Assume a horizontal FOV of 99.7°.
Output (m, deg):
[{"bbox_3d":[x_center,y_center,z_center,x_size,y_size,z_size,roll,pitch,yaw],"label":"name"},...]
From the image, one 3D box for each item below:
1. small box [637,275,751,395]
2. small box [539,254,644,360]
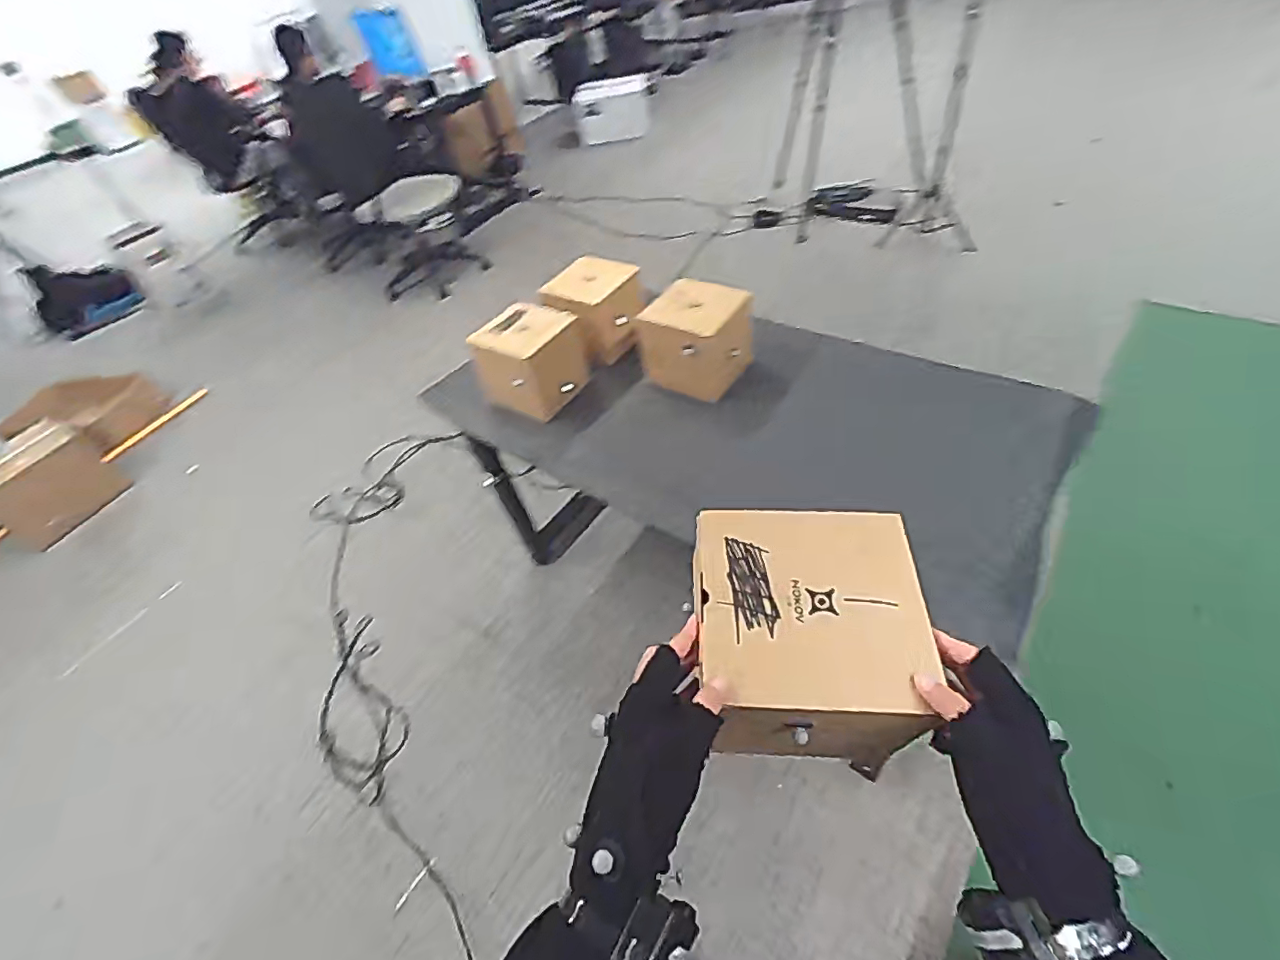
[{"bbox_3d":[0.120,-0.302,1.140,0.179,0.176,0.168,24,57,29],"label":"small box"},{"bbox_3d":[-0.102,-0.409,1.286,0.179,0.176,0.168,23,57,29],"label":"small box"}]
